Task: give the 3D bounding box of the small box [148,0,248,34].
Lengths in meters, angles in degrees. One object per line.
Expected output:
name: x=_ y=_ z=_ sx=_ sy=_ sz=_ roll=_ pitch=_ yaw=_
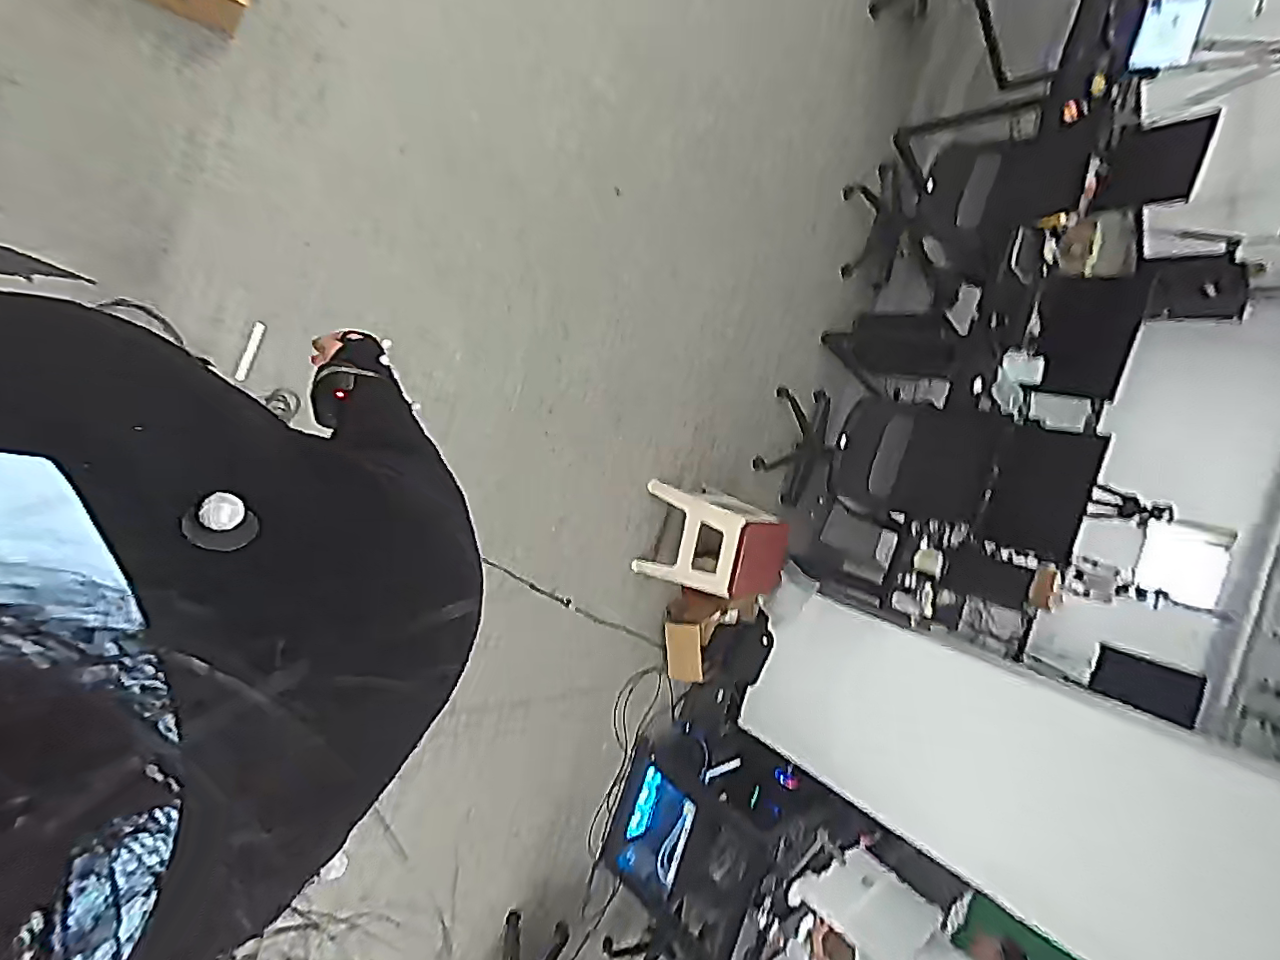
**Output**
small box: x=-0.816 y=-0.952 z=0.966 sx=0.179 sy=0.176 sz=0.168 roll=0 pitch=102 yaw=-44
